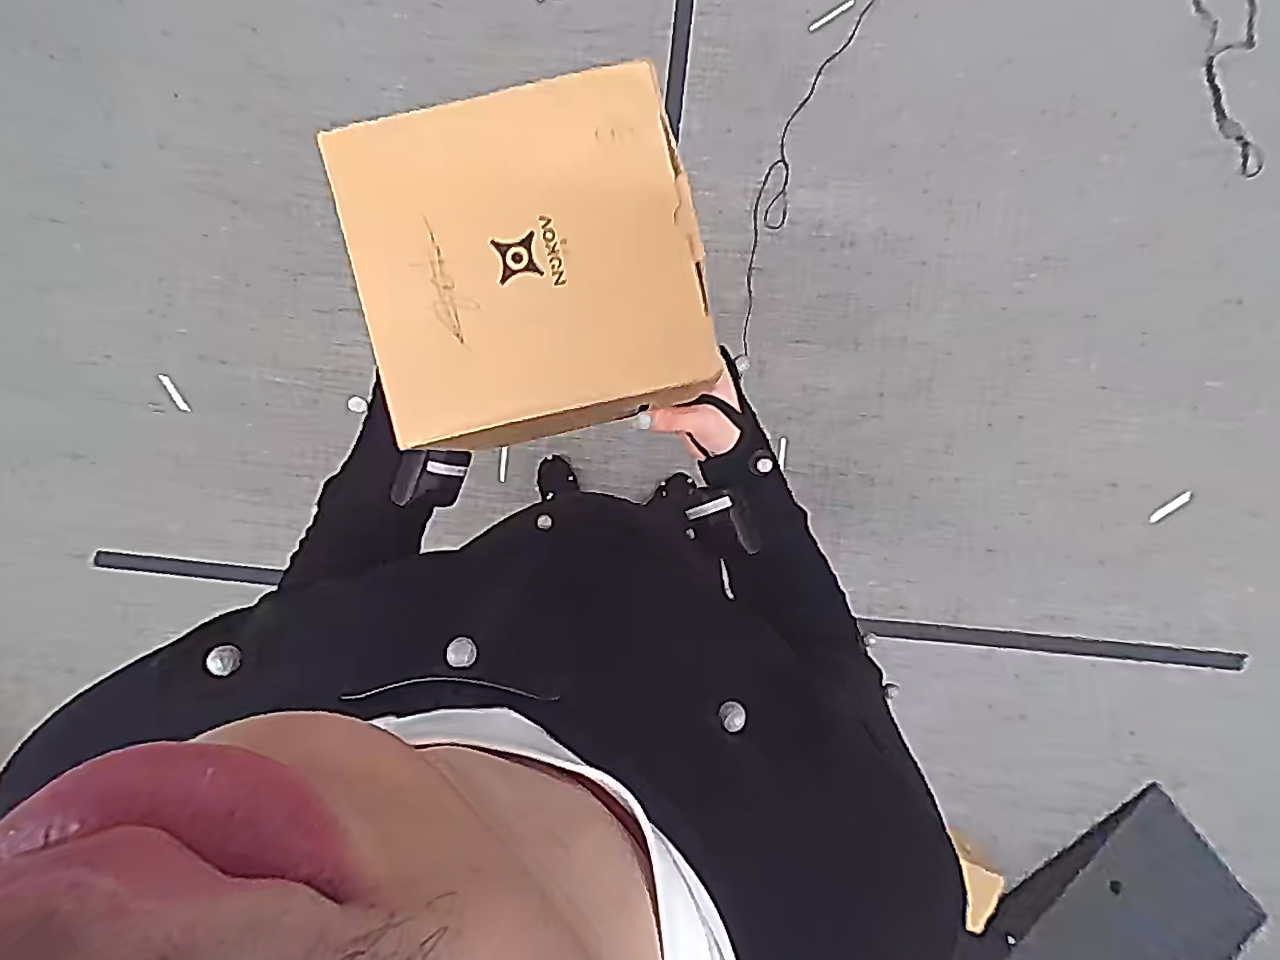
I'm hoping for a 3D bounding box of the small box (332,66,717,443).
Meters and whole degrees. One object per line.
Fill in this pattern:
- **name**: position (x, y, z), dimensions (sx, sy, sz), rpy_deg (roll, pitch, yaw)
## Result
- **small box**: position (-0.062, -0.124, 0.368), dimensions (0.179, 0.176, 0.168), rpy_deg (-14, 92, -1)
